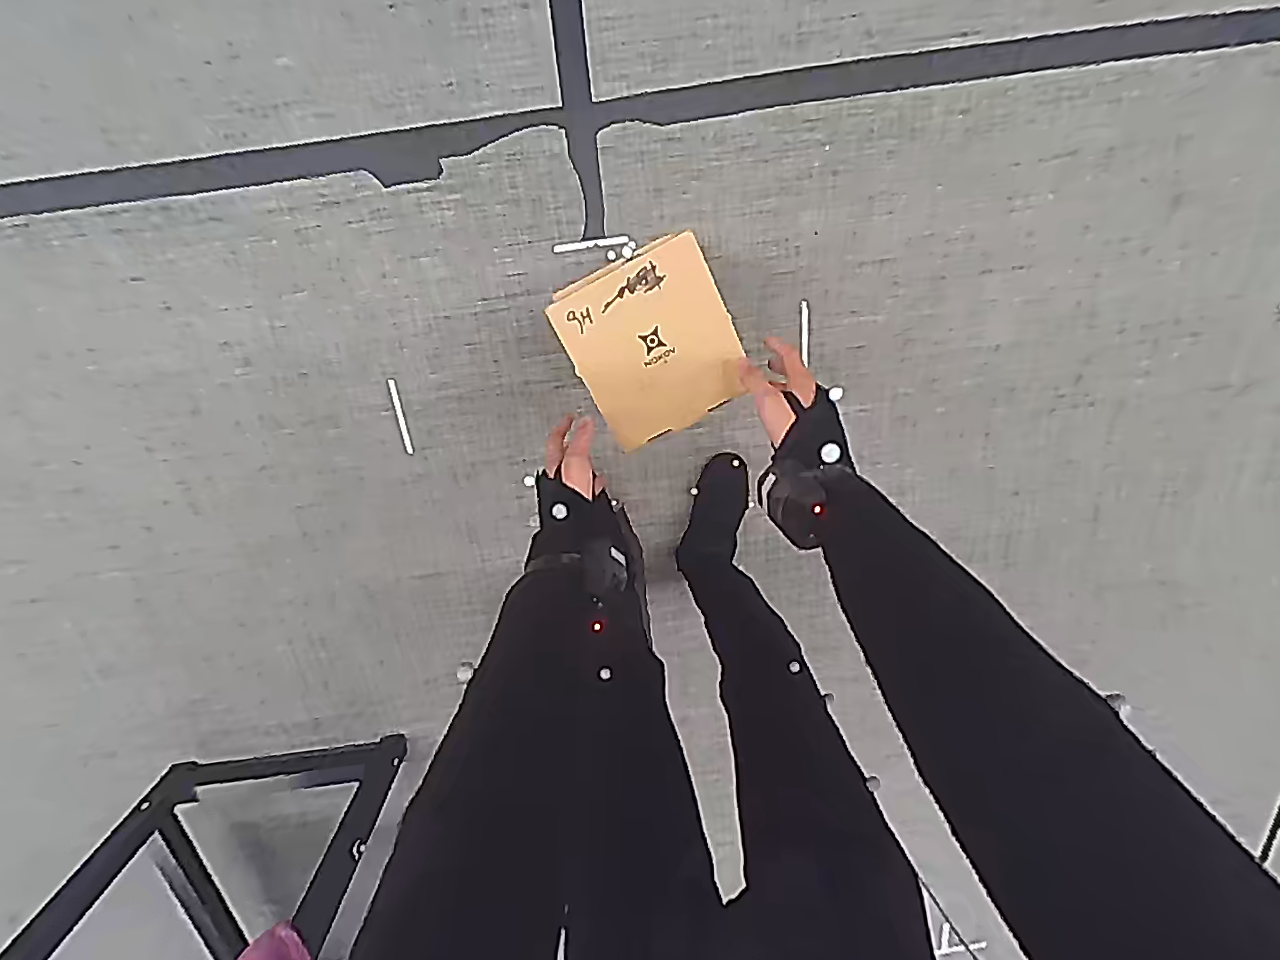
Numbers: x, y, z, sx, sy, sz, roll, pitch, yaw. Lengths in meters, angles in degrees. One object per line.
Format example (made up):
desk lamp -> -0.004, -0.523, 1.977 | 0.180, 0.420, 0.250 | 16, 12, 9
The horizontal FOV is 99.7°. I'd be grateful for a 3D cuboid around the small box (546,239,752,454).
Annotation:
small box -> 0.010, -0.162, 0.639 | 0.168, 0.176, 0.179 | -26, 110, 6
